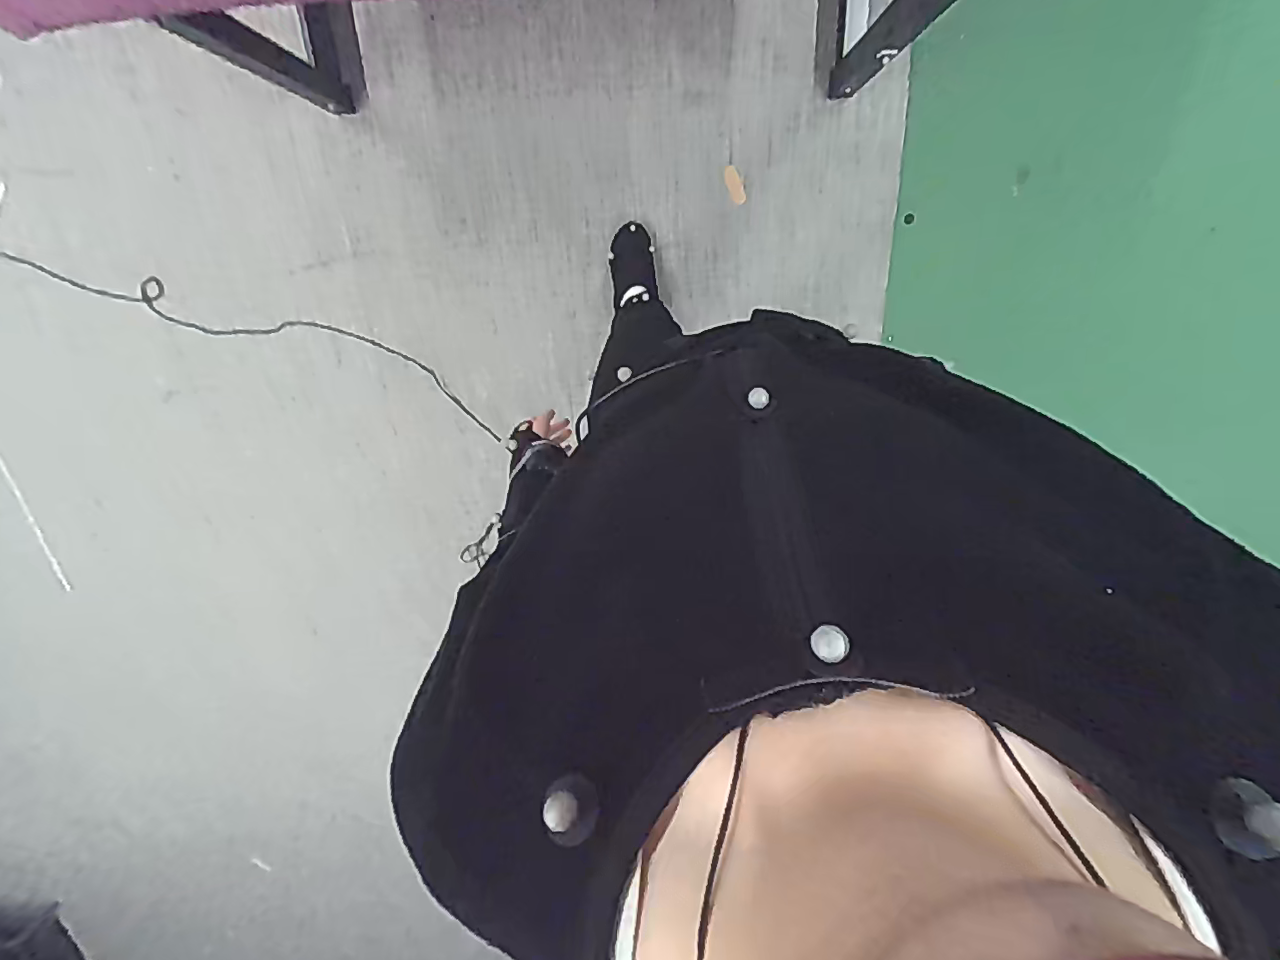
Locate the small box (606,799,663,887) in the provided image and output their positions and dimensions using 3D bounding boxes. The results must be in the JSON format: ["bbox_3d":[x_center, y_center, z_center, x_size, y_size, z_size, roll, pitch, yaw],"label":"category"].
[{"bbox_3d":[-0.014,1.134,1.698,0.168,0.176,0.179,-4,111,4],"label":"small box"}]
